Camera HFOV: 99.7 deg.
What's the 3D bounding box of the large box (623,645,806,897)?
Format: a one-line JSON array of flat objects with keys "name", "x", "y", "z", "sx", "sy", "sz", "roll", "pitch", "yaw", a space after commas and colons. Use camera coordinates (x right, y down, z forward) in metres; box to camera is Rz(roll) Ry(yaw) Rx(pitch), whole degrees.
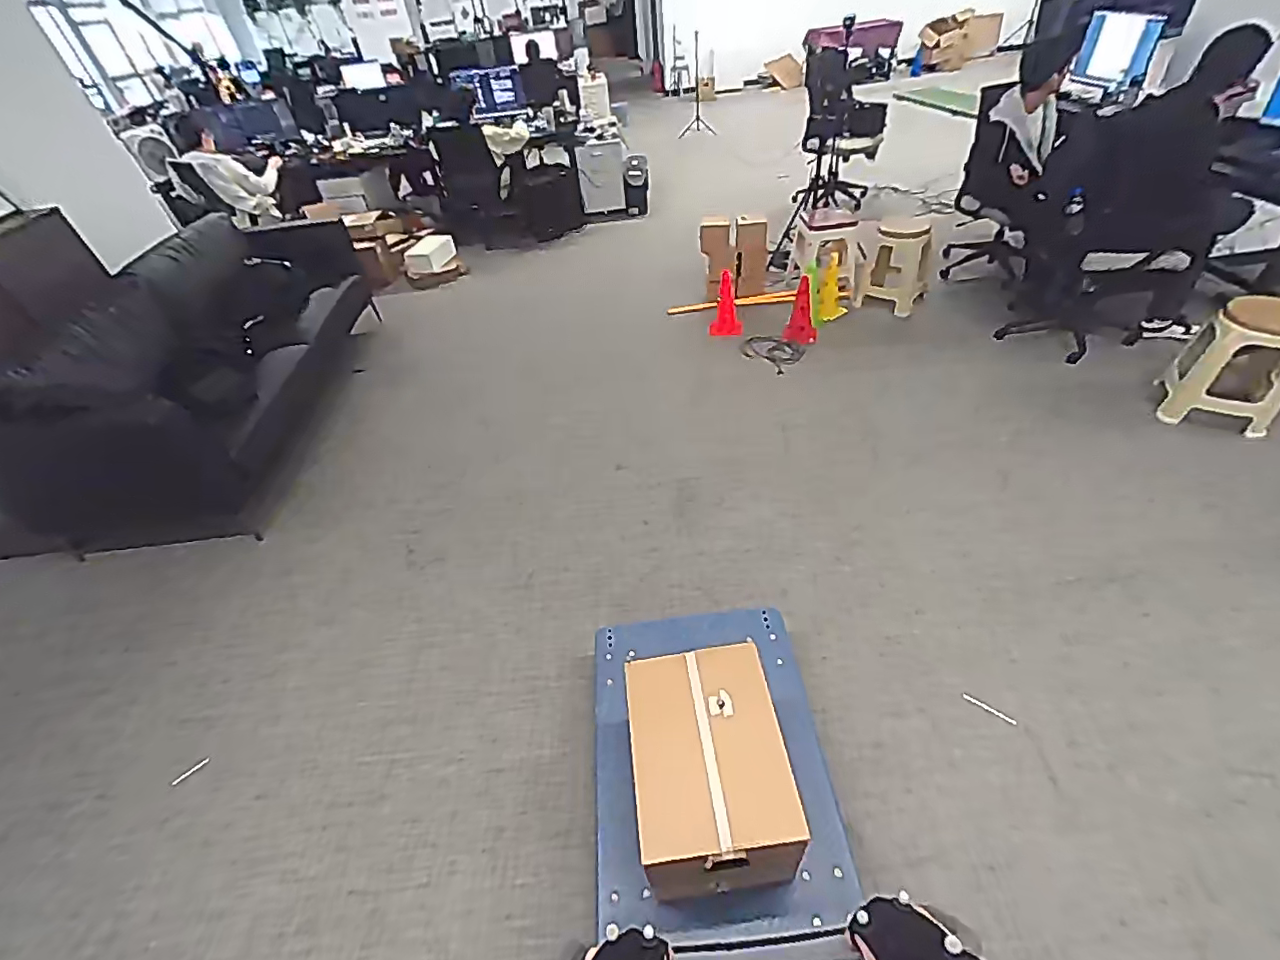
[{"name": "large box", "x": 0.154, "y": 0.655, "z": 1.234, "sx": 0.320, "sy": 0.320, "sz": 0.408, "roll": -9, "pitch": 43, "yaw": 0}]
